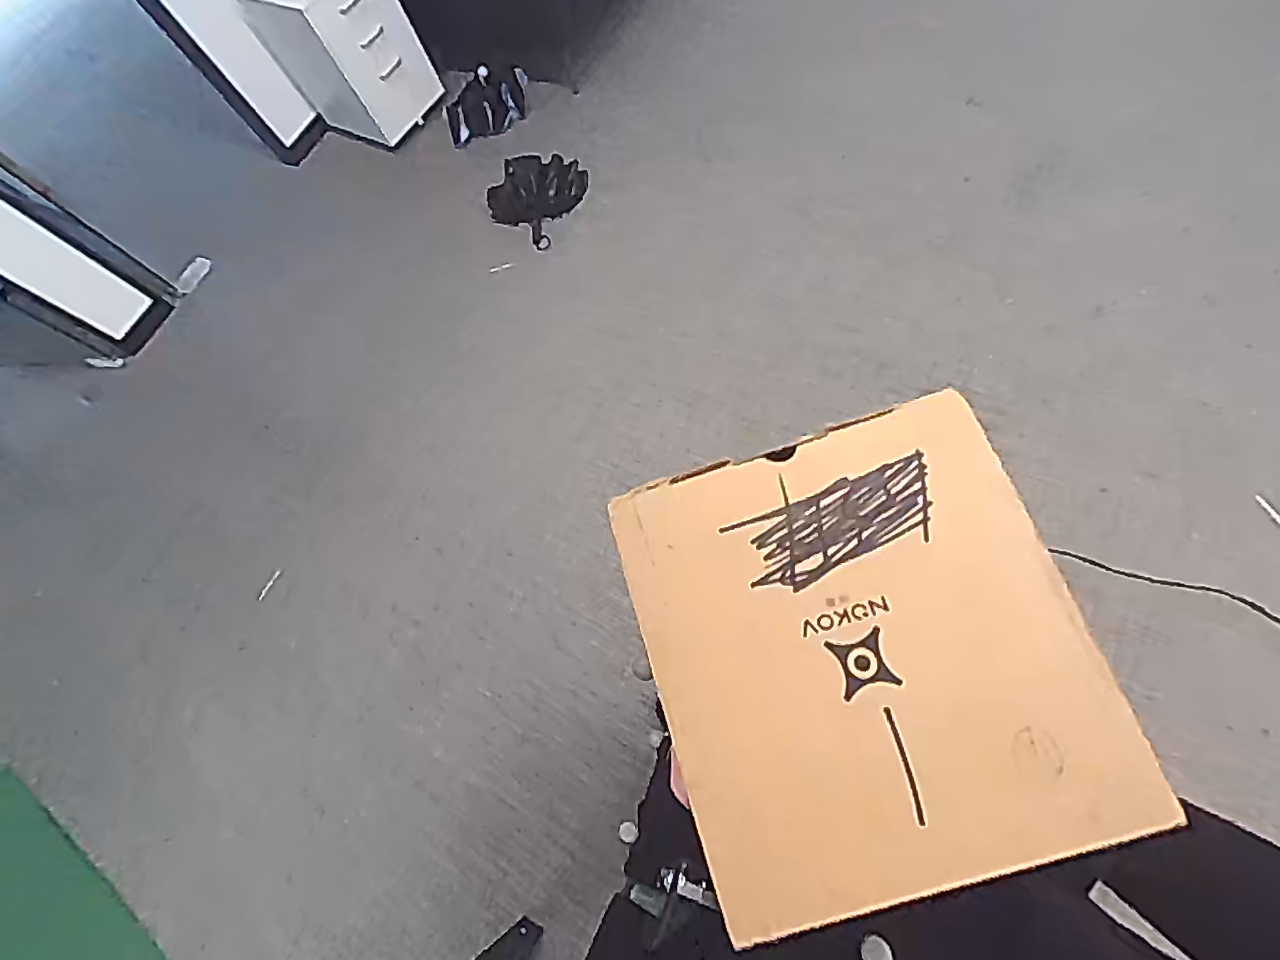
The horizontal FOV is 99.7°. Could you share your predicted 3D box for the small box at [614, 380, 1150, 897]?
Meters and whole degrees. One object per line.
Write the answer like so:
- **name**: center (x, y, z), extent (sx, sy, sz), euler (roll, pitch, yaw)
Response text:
- **small box**: center (0.096, 0.077, 0.301), extent (0.168, 0.176, 0.179), euler (-18, 73, 3)
